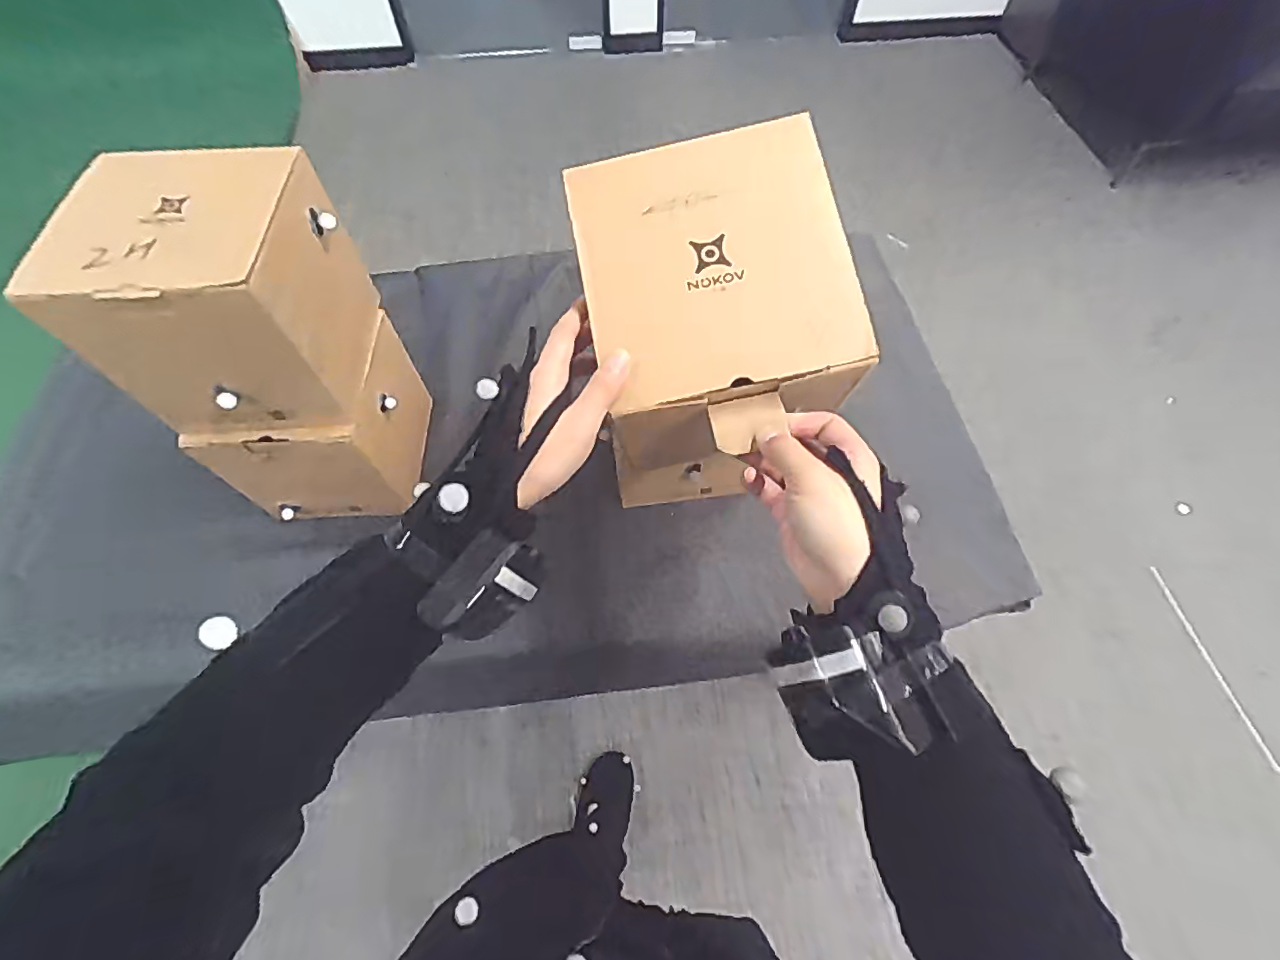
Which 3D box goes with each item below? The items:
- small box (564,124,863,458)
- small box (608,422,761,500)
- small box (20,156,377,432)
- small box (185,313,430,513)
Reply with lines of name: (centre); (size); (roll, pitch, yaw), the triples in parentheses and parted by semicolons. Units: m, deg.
small box: (0.050, -0.124, 0.425); (0.168, 0.176, 0.179); (-12, 77, 2)
small box: (0.044, -0.087, 0.645); (0.168, 0.176, 0.179); (-7, 61, -5)
small box: (-0.363, -0.164, 0.495); (0.168, 0.176, 0.179); (-4, 60, -2)
small box: (-0.361, -0.069, 0.631); (0.168, 0.176, 0.179); (-2, 60, -2)
